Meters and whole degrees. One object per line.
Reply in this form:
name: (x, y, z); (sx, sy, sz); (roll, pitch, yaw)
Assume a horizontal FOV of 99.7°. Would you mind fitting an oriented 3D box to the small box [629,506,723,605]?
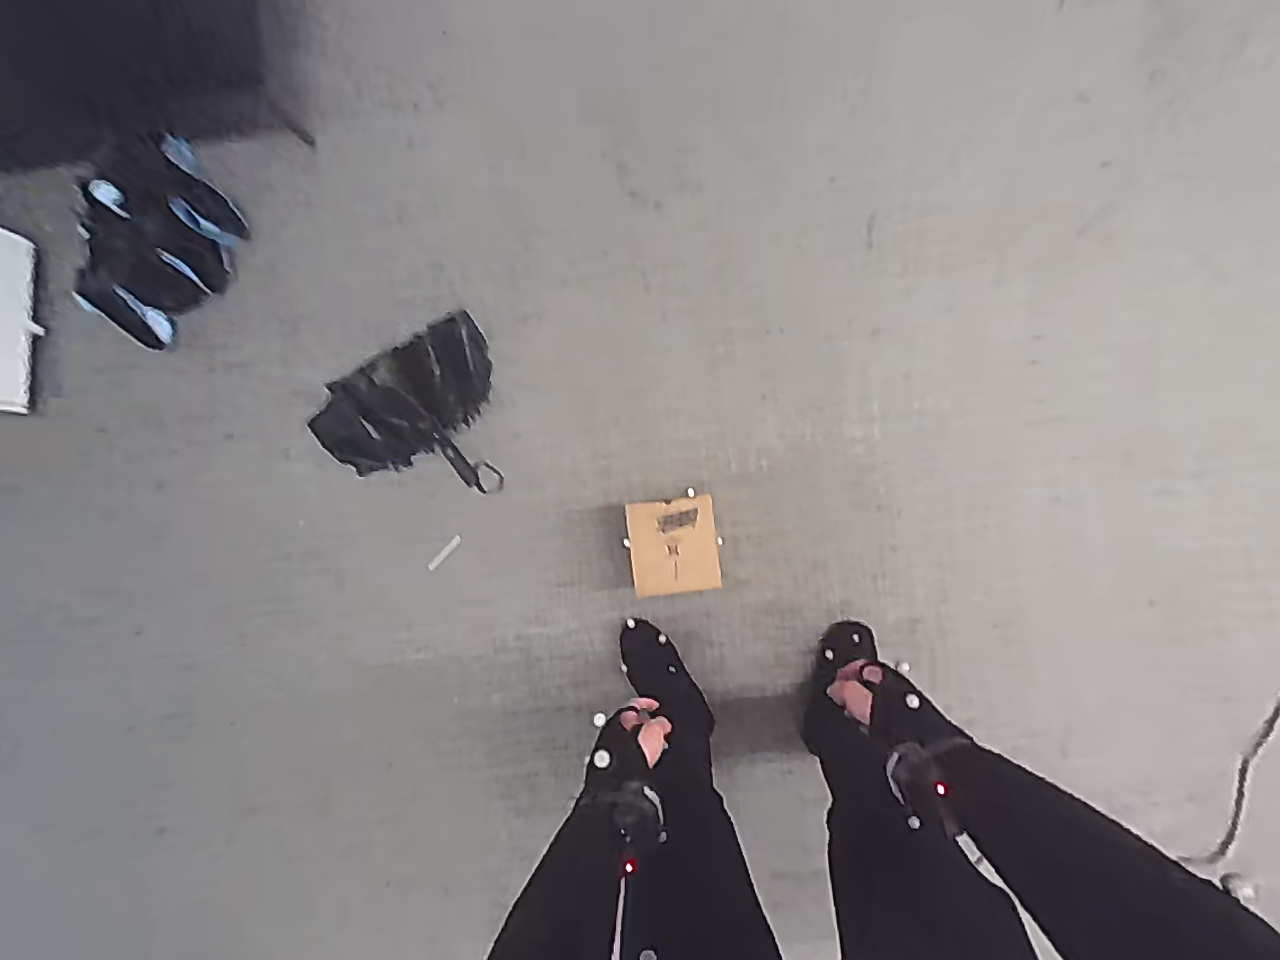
small box: (0.072, 0.148, 1.108); (0.168, 0.176, 0.179); (-7, 88, 4)
